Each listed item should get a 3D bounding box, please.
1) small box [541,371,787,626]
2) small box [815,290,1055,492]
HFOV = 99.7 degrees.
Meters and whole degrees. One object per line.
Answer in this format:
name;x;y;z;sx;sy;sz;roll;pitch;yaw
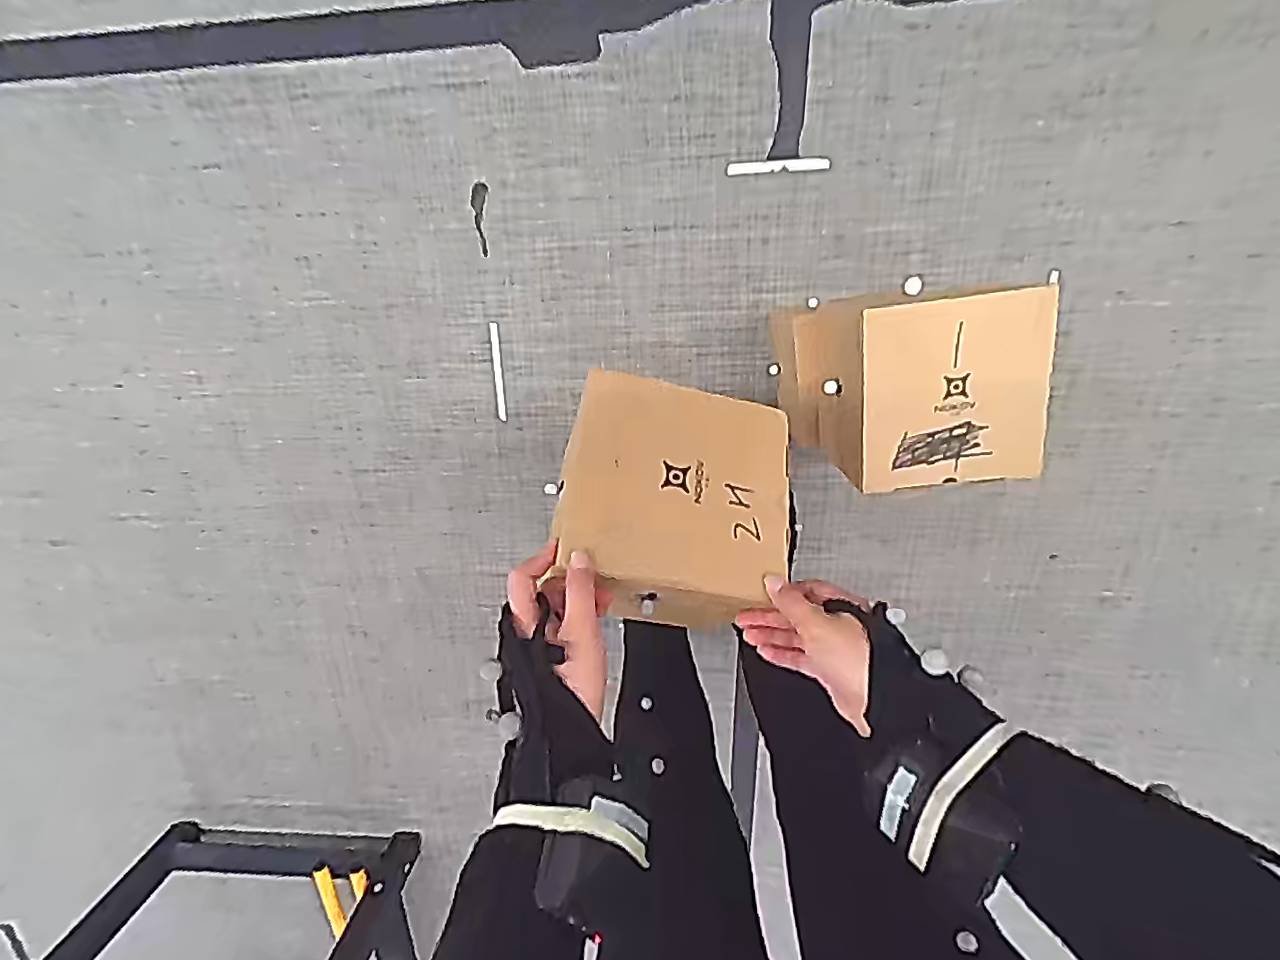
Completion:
small box;0.013;0.031;0.485;0.179;0.176;0.168;12;67;-11
small box;0.288;-0.101;0.571;0.168;0.176;0.179;-6;108;5
